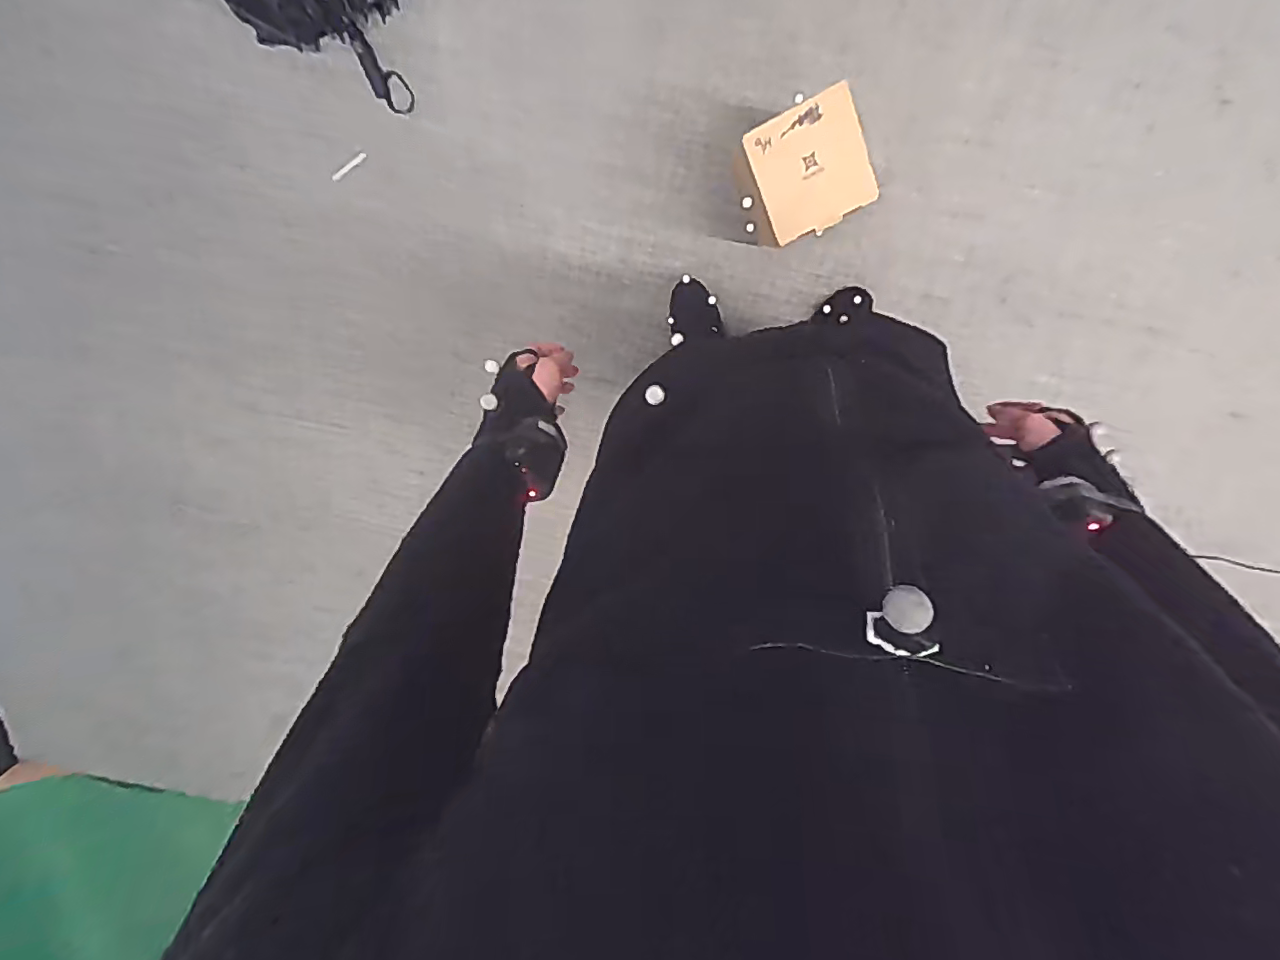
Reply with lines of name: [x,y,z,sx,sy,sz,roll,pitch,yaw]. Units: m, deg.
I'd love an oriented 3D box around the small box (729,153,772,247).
small box: [0.284,-0.580,1.063,0.168,0.176,0.179,-23,108,14]

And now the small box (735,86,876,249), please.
small box: [0.271,-0.514,0.912,0.168,0.176,0.179,-22,111,13]
